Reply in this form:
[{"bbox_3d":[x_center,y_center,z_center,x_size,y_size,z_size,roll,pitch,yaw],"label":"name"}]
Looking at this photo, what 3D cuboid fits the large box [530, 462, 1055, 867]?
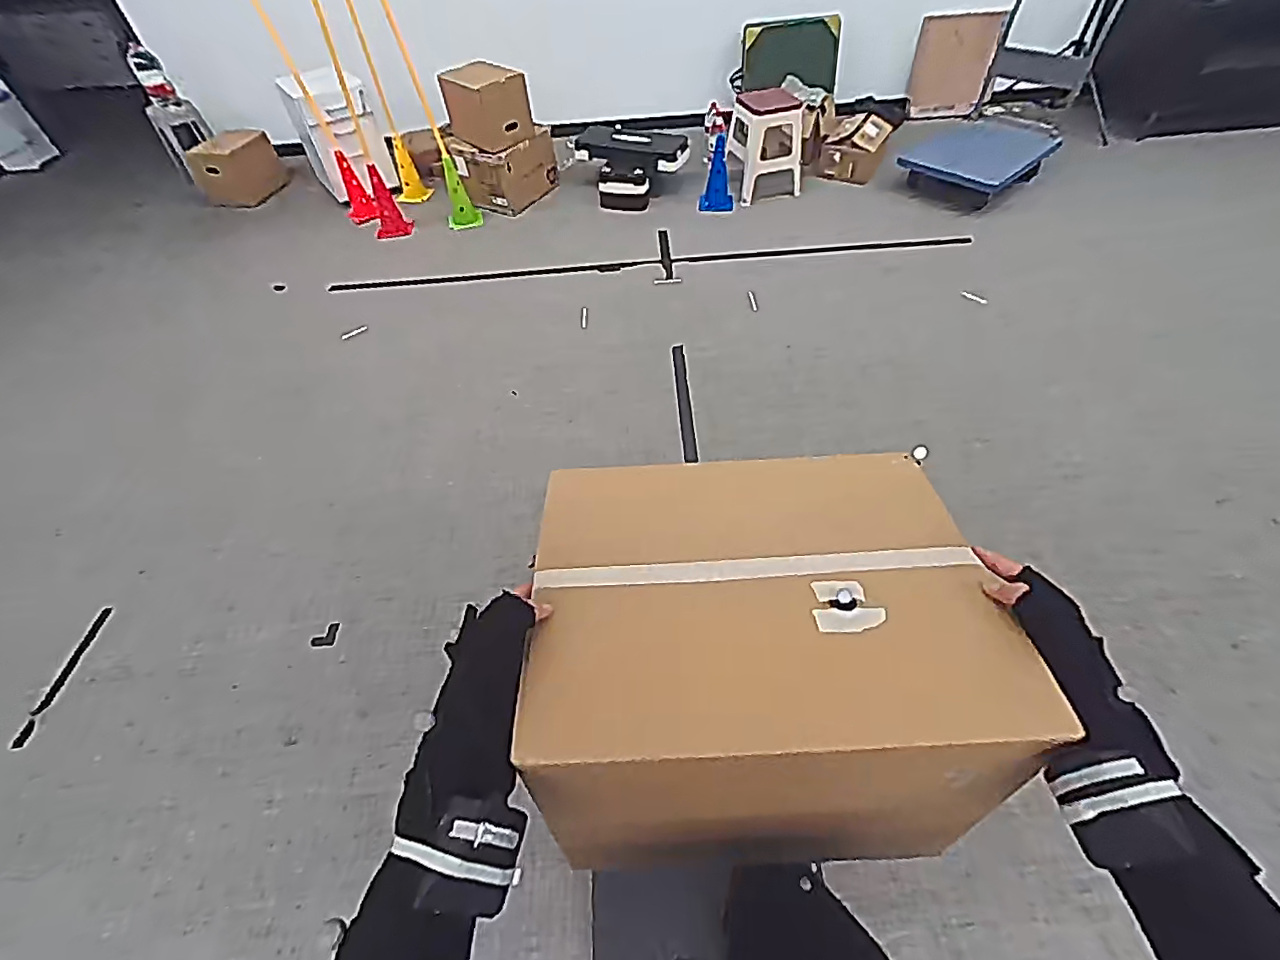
[{"bbox_3d":[0.114,0.203,0.610,0.408,0.320,0.320,-3,42,1],"label":"large box"}]
